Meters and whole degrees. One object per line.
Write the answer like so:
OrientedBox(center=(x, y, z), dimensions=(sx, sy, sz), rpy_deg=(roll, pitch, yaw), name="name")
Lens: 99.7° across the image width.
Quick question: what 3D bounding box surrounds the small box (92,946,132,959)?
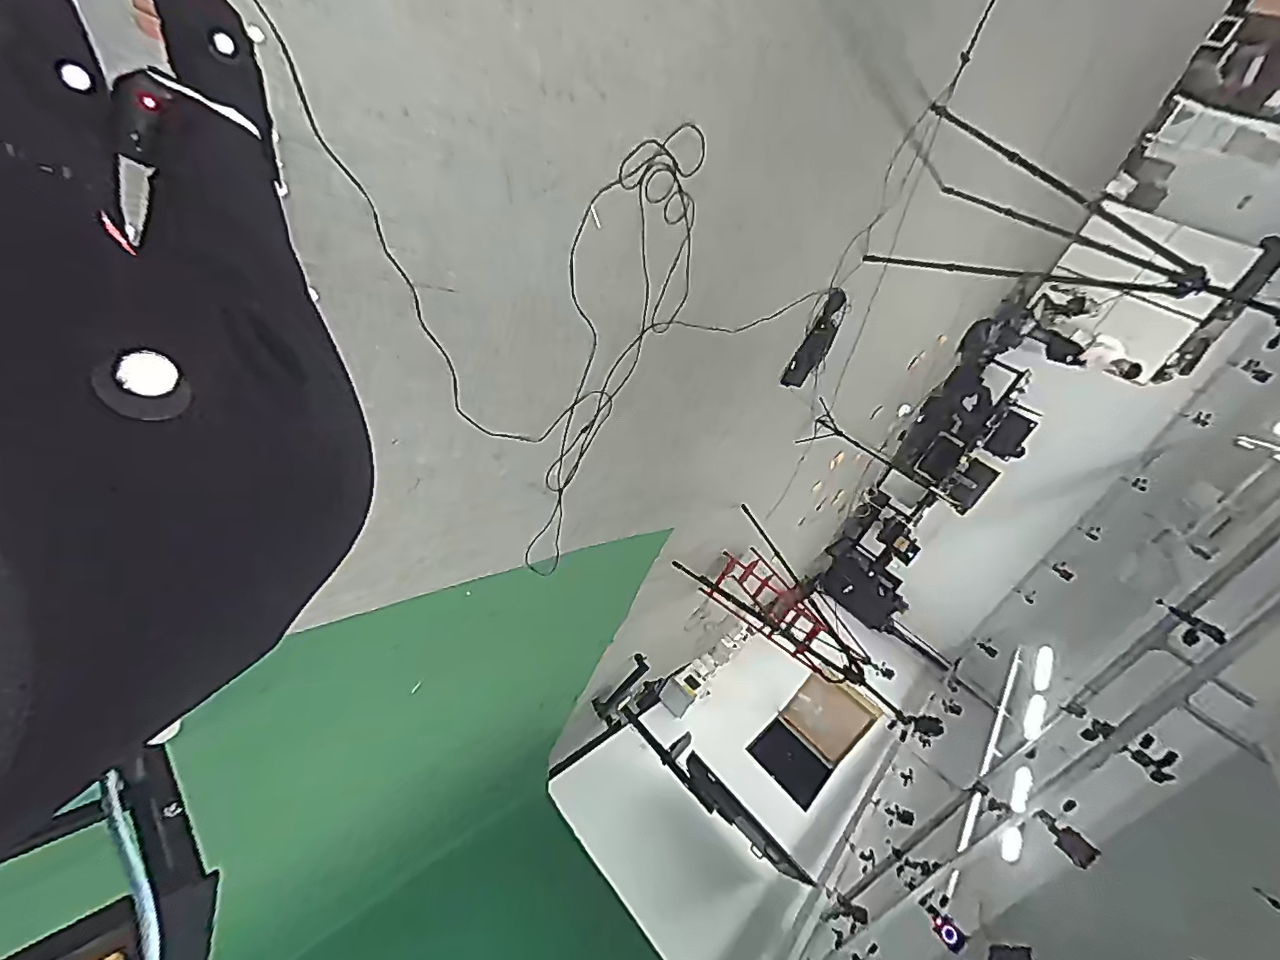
OrientedBox(center=(-1.154, 1.134, 1.126), dimensions=(0.168, 0.176, 0.179), rpy_deg=(-18, 138, -44), name="small box")
